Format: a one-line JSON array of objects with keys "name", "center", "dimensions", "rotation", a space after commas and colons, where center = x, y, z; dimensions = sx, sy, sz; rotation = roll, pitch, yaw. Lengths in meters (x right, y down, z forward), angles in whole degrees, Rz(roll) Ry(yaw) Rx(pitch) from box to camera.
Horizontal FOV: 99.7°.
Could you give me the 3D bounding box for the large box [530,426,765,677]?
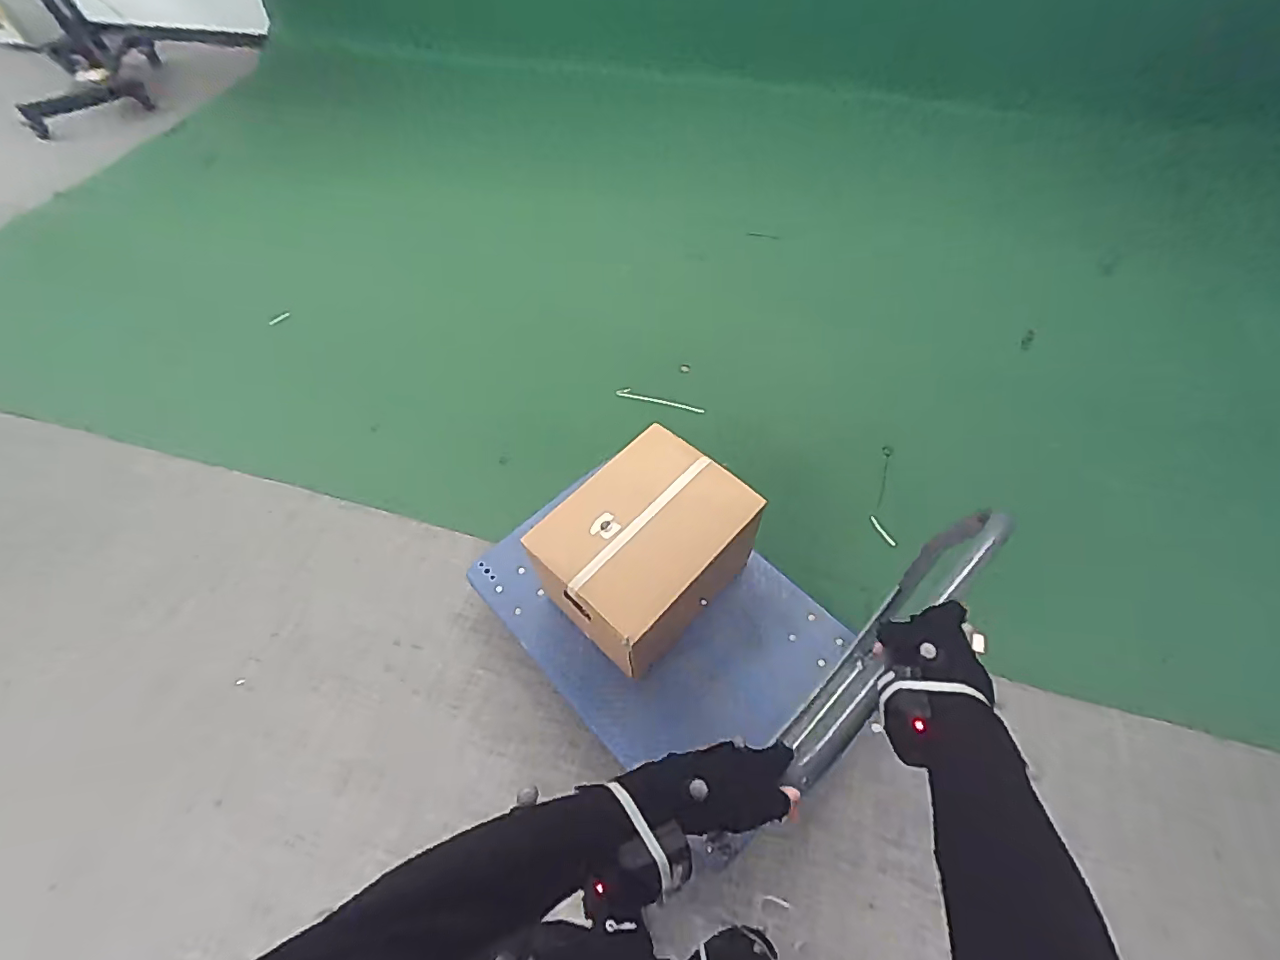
[{"name": "large box", "center": [0.024, 0.162, 1.224], "dimensions": [0.320, 0.320, 0.408], "rotation": [38, 67, 23]}]
